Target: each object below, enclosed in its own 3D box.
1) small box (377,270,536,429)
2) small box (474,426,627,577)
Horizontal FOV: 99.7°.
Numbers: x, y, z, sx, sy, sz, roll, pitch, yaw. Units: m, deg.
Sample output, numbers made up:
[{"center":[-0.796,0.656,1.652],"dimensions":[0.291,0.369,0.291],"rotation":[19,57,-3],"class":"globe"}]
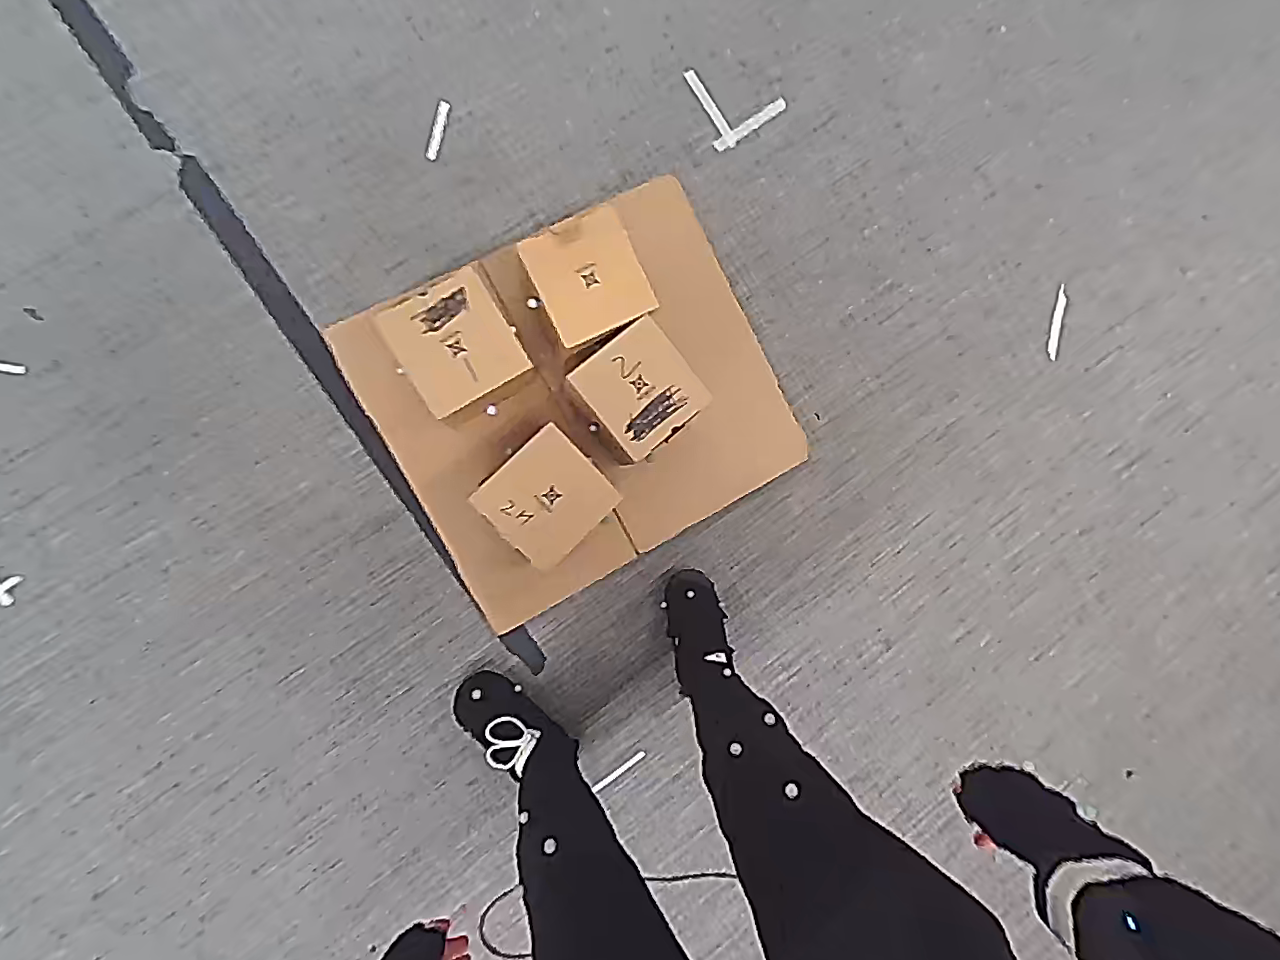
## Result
[{"center":[-0.284,-0.198,0.875],"dimensions":[0.168,0.176,0.179],"rotation":[-33,97,-8],"class":"small box"},{"center":[-0.150,0.032,0.902],"dimensions":[0.179,0.176,0.168],"rotation":[-44,97,-7],"class":"small box"}]
